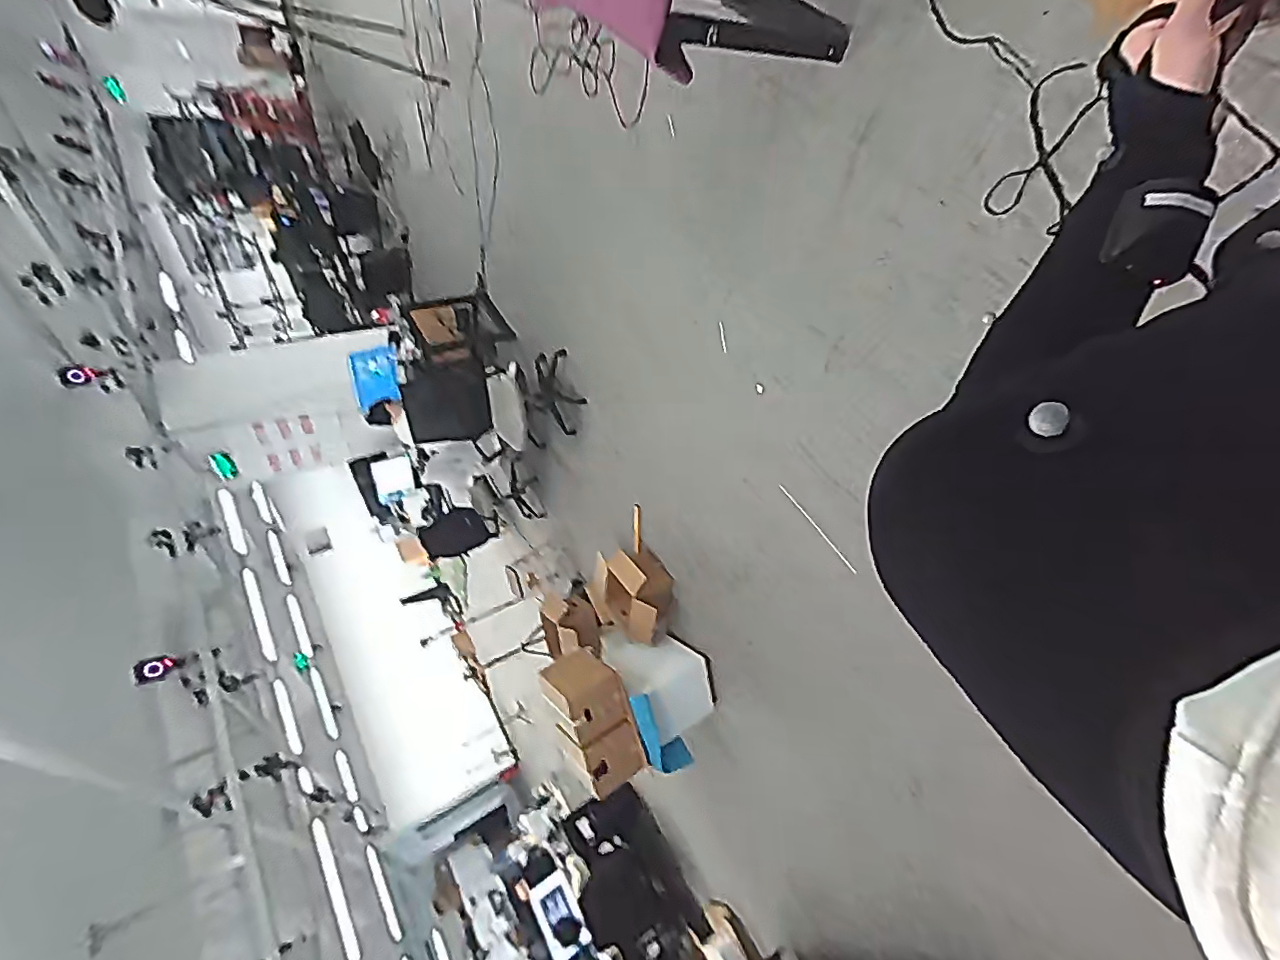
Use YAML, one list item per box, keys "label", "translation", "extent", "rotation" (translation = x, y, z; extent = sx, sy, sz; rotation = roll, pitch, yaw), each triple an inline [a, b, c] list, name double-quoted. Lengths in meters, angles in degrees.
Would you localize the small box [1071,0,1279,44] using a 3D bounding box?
- label: "small box"
  translation: [0.465, -0.467, 0.406]
  extent: [0.168, 0.176, 0.179]
  rotation: [27, 117, 43]
